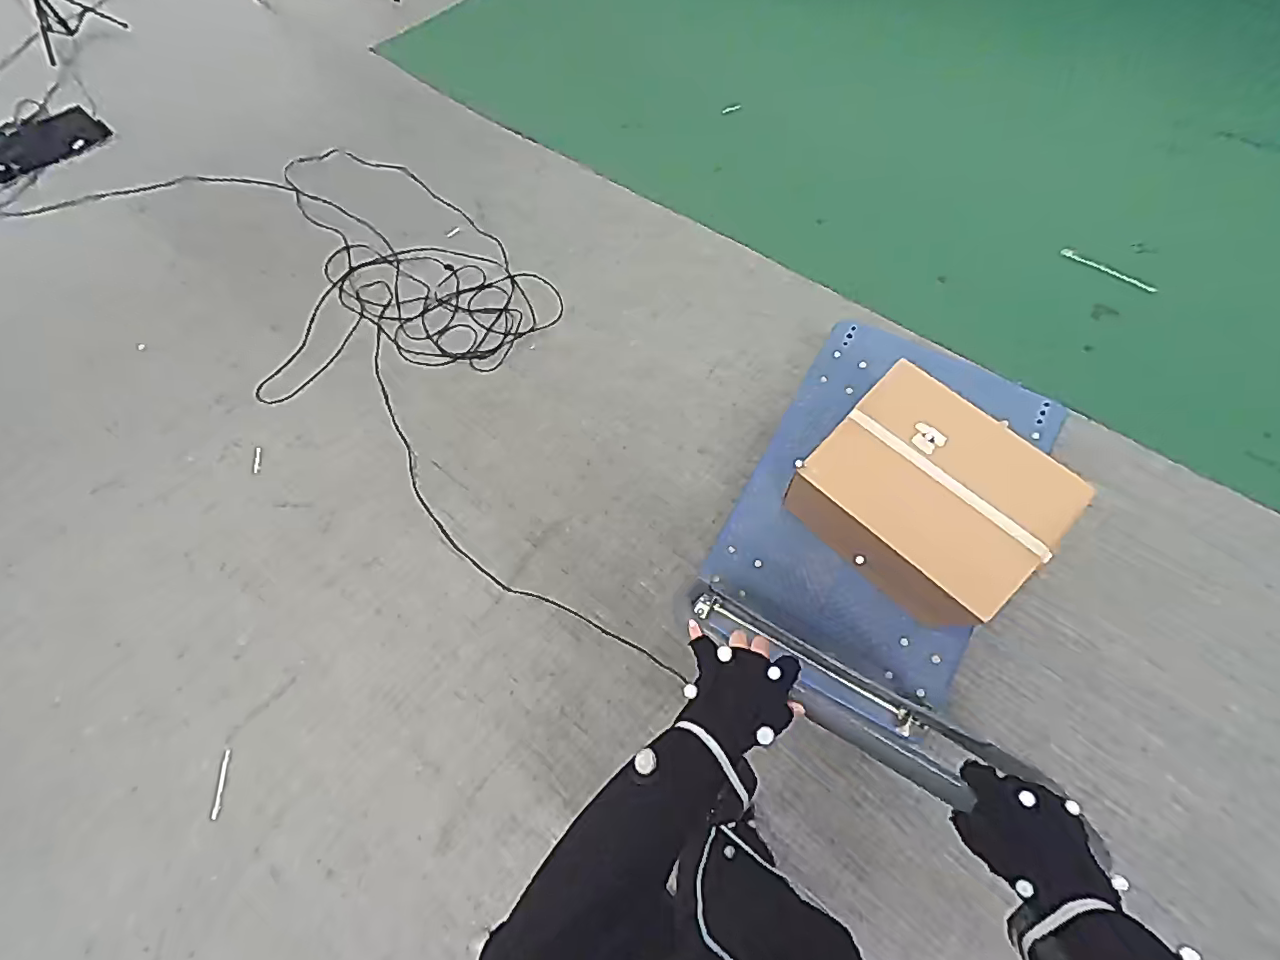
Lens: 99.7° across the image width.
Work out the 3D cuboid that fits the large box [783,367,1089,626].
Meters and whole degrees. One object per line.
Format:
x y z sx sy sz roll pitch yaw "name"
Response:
0.560 0.052 1.120 0.408 0.320 0.320 43 84 18 "large box"
